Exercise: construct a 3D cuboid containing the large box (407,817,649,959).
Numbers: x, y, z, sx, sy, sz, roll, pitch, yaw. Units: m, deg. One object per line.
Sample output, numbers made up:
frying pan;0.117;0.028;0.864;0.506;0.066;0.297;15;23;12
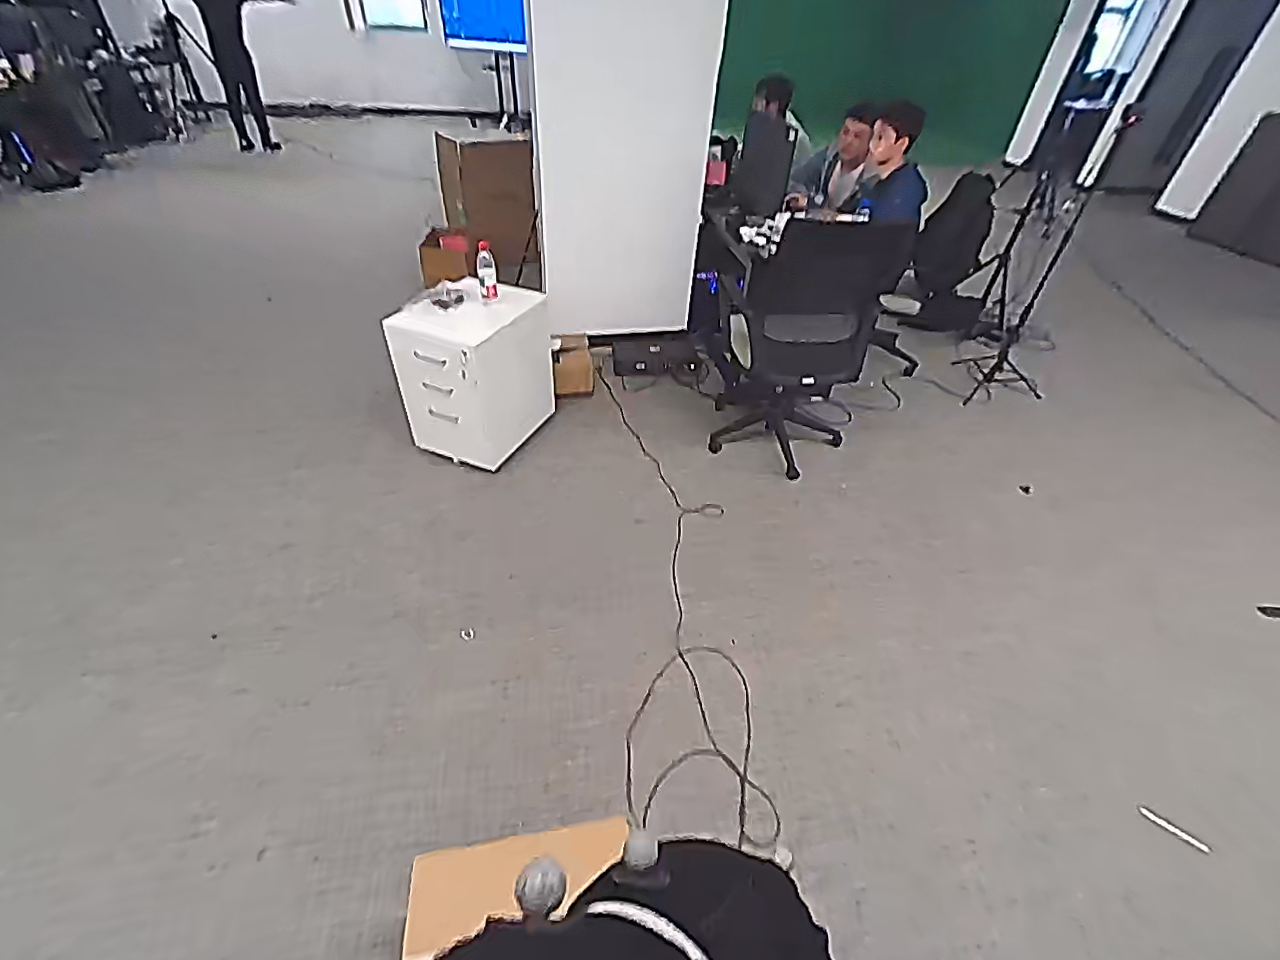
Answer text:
large box;-0.199;0.898;1.016;0.408;0.320;0.320;-5;41;-10
